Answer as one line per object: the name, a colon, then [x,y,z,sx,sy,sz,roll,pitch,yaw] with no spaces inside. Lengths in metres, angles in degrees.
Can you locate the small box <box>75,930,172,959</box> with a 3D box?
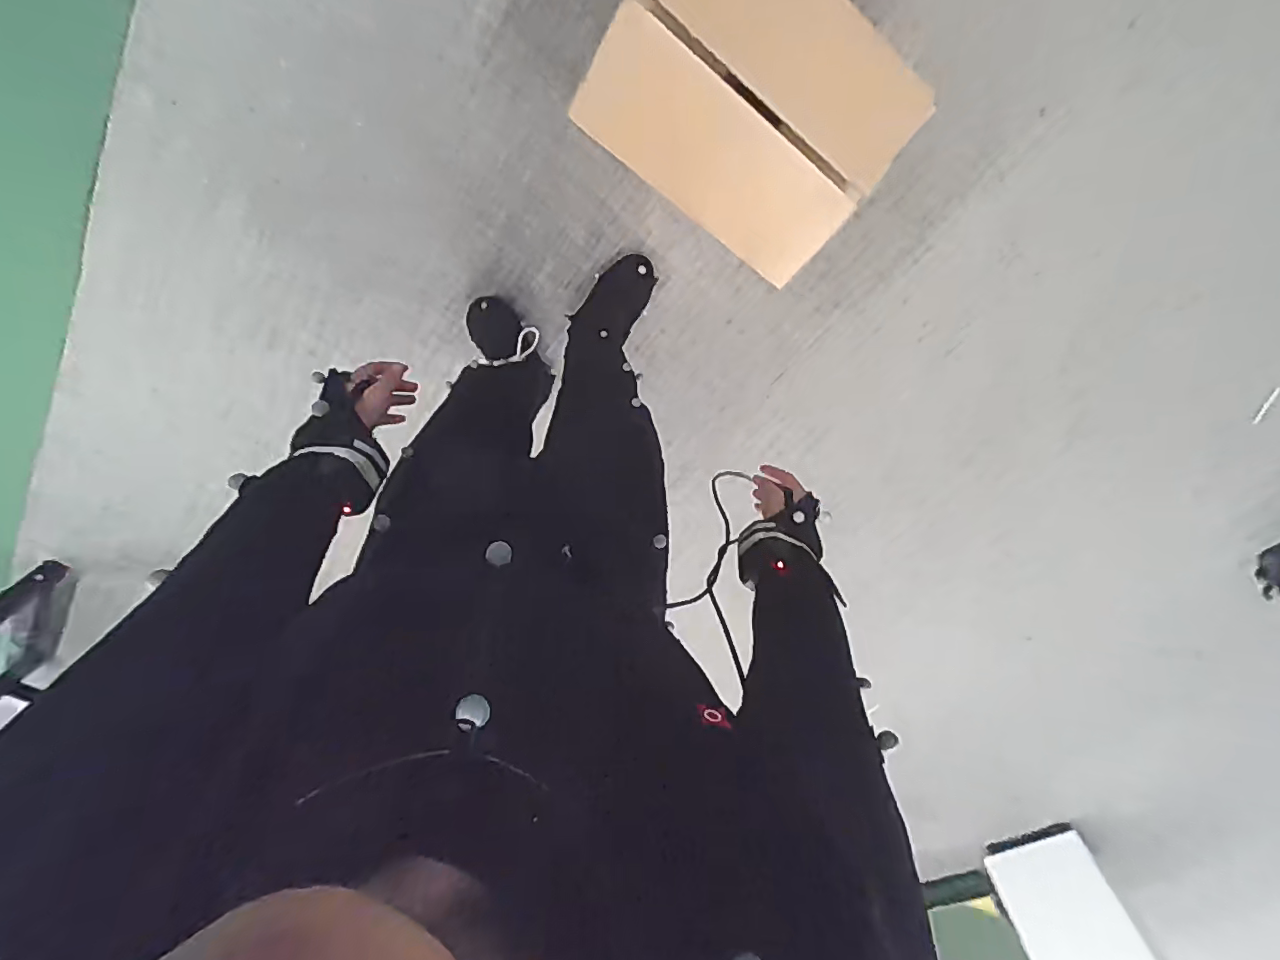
small box: [-1.209,1.160,1.223,0.168,0.176,0.179,25,119,-16]
